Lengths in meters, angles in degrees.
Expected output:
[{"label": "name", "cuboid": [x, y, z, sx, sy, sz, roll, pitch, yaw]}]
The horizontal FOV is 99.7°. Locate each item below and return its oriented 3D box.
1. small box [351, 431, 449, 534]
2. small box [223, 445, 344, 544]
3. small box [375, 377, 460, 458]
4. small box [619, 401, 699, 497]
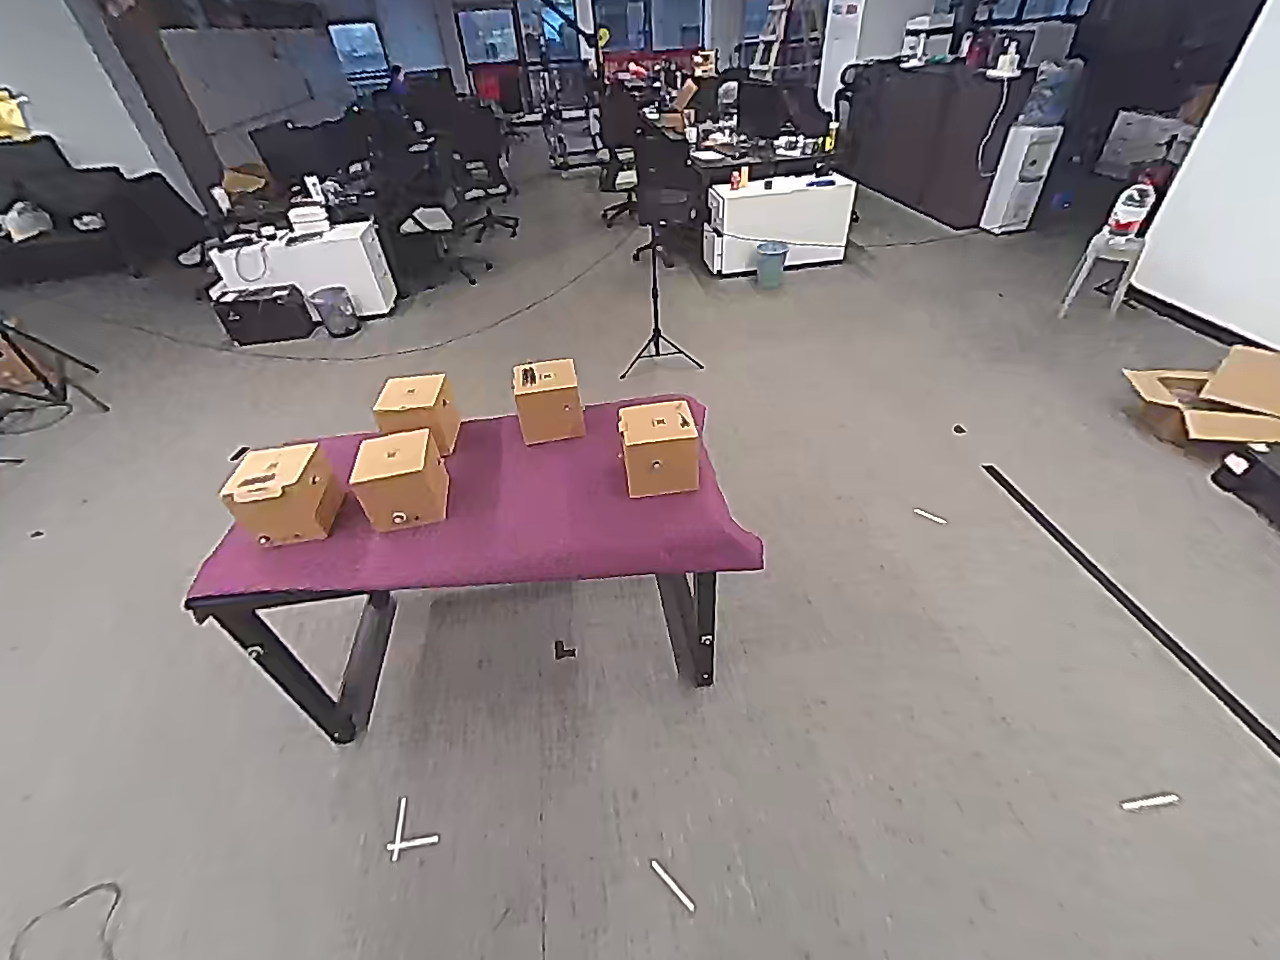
[{"label": "small box", "cuboid": [-0.580, 0.005, 1.332, 0.168, 0.176, 0.179, -11, 40, -7]}, {"label": "small box", "cuboid": [-0.851, 0.040, 1.314, 0.168, 0.176, 0.179, -9, 39, -5]}, {"label": "small box", "cuboid": [-0.626, -0.176, 1.545, 0.168, 0.176, 0.179, -6, 41, -2]}, {"label": "small box", "cuboid": [0.047, -0.074, 1.360, 0.179, 0.176, 0.168, -8, 41, -1]}]
